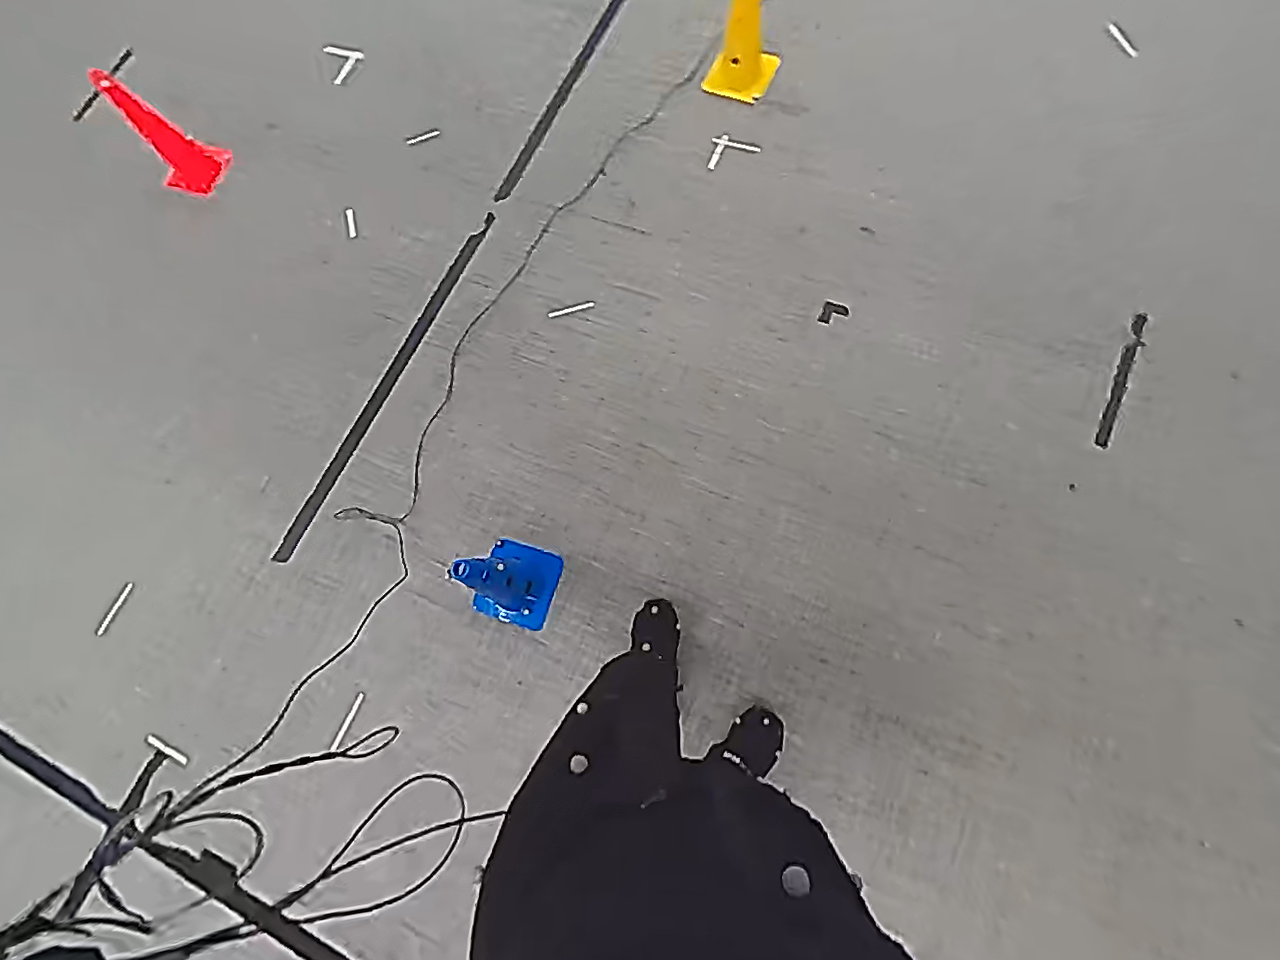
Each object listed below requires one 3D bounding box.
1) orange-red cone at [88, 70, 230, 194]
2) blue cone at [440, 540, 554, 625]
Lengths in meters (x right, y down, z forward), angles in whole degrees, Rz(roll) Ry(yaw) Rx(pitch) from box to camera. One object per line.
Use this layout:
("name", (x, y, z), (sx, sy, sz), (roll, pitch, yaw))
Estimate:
("orange-red cone", (-1.615, -1.167, 1.788), (0.198, 0.360, 0.199), (18, 79, 12))
("blue cone", (-0.347, 0.222, 1.243), (0.192, 0.380, 0.193), (17, 77, 12))
